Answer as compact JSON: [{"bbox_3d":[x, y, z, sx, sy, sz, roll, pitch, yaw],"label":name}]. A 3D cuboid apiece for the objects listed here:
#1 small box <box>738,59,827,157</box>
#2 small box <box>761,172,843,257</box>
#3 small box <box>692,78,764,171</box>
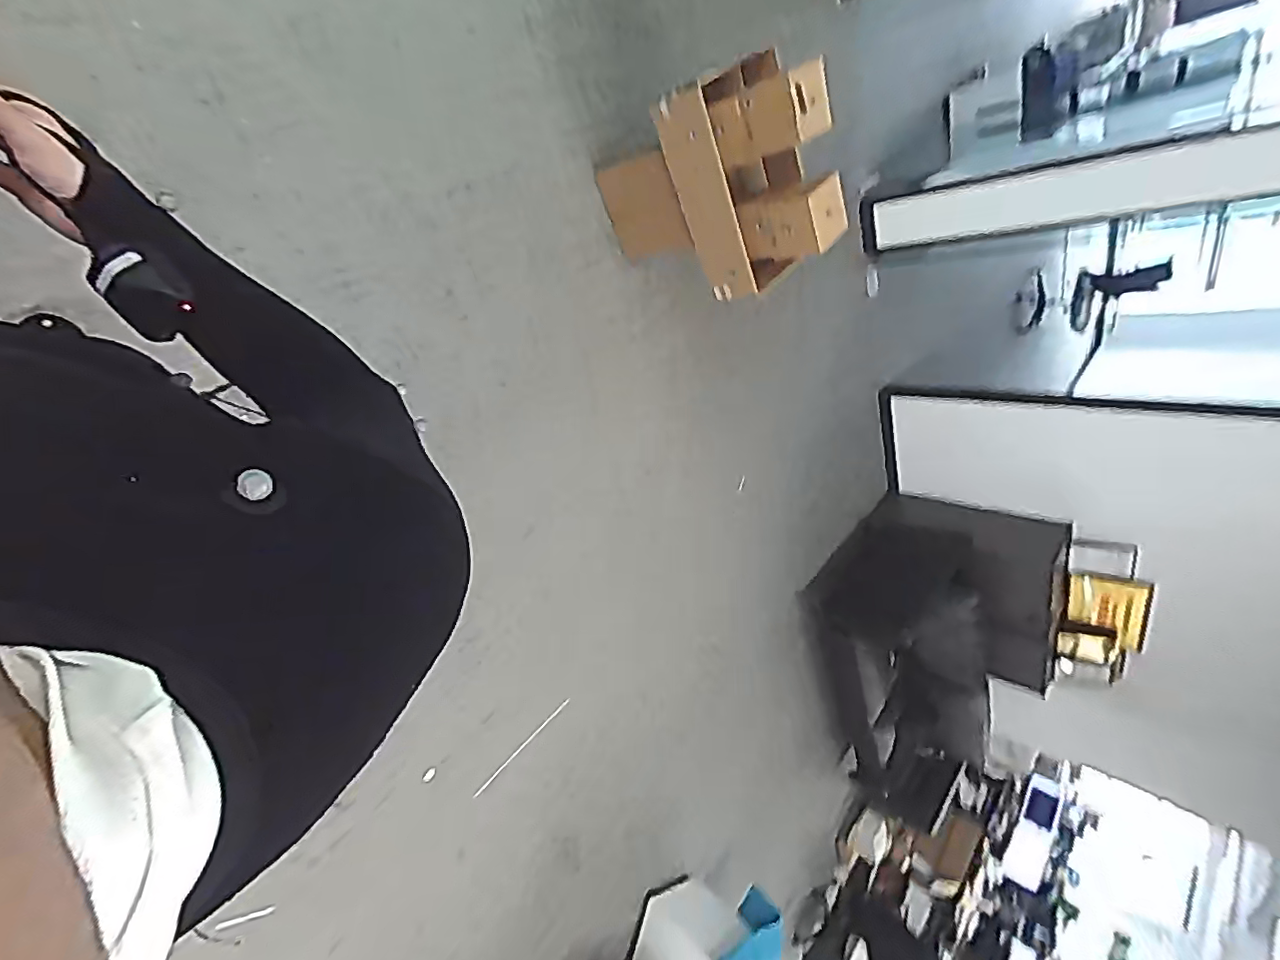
[{"bbox_3d":[0.387,-1.021,1.493,0.179,0.176,0.168,-42,126,-30],"label":"small box"},{"bbox_3d":[0.485,-0.798,1.638,0.179,0.176,0.168,-47,129,-24],"label":"small box"},{"bbox_3d":[0.275,-1.050,1.609,0.179,0.176,0.168,-46,127,-27],"label":"small box"}]
